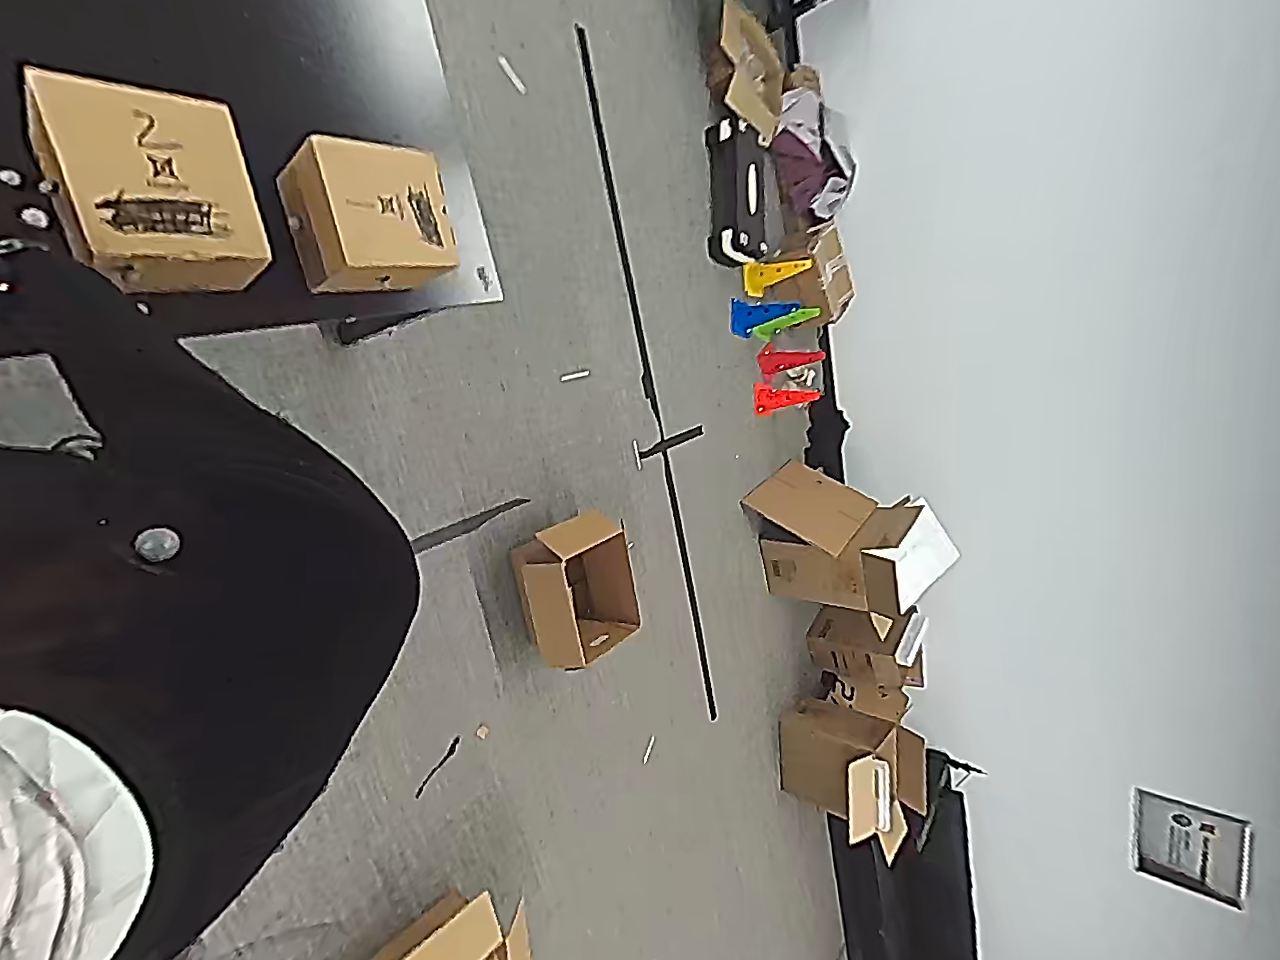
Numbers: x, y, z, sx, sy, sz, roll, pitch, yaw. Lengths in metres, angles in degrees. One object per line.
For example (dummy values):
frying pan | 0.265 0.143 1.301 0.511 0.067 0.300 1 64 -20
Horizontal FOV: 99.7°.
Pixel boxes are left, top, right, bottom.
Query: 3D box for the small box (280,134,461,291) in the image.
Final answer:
small box | -0.409 -0.393 0.825 0.179 0.176 0.168 -24 108 -43
